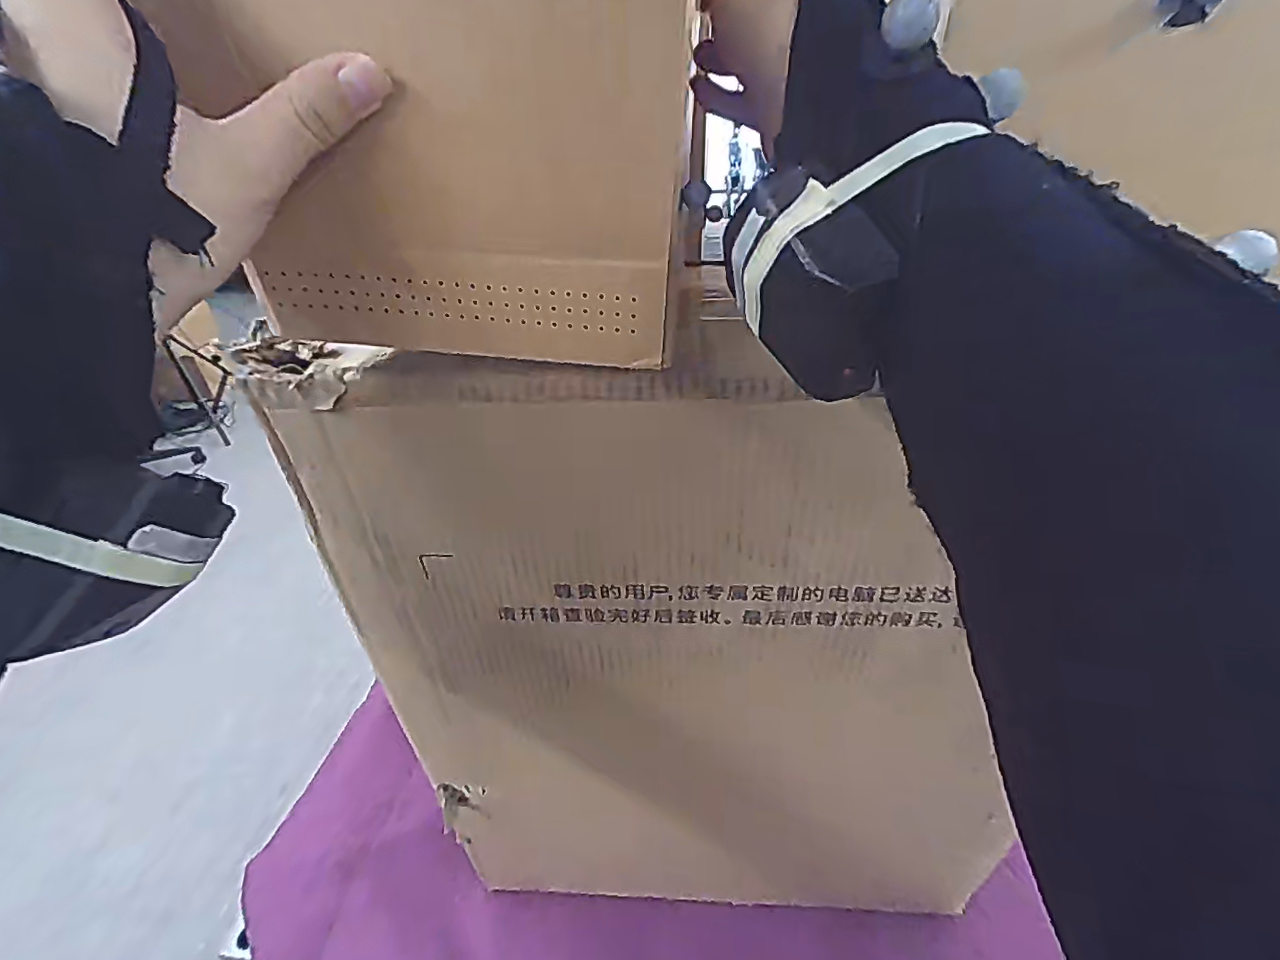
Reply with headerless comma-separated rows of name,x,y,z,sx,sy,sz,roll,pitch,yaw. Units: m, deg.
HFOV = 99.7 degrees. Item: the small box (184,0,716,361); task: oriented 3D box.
small box,-0.059,-0.166,0.241,0.179,0.176,0.168,6,40,3
